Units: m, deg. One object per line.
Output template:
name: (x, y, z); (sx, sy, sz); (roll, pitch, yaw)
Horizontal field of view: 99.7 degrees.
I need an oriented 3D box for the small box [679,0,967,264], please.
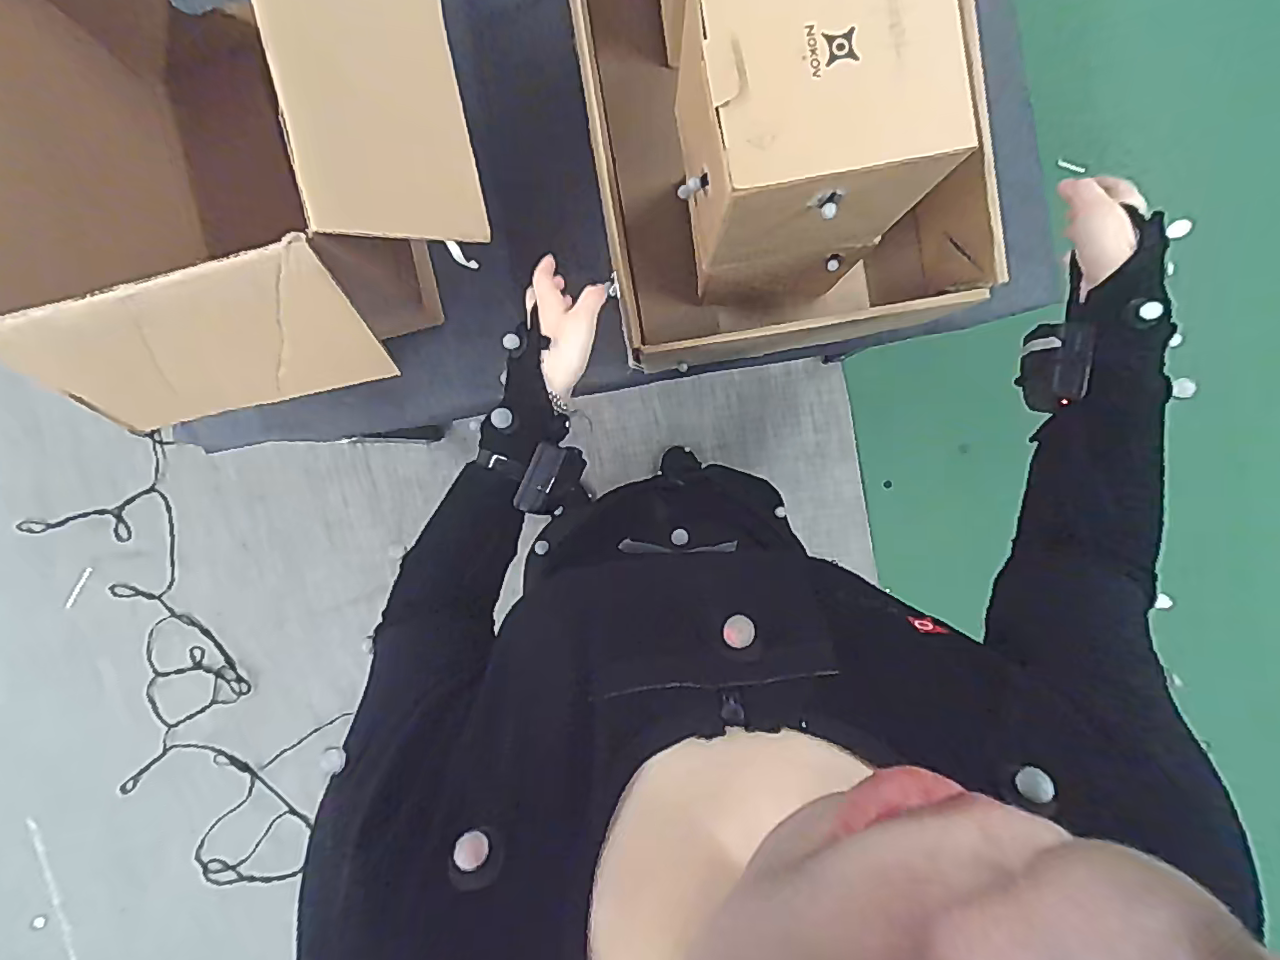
small box: (0.131, -0.299, 0.455); (0.179, 0.176, 0.168); (-10, 94, 0)
